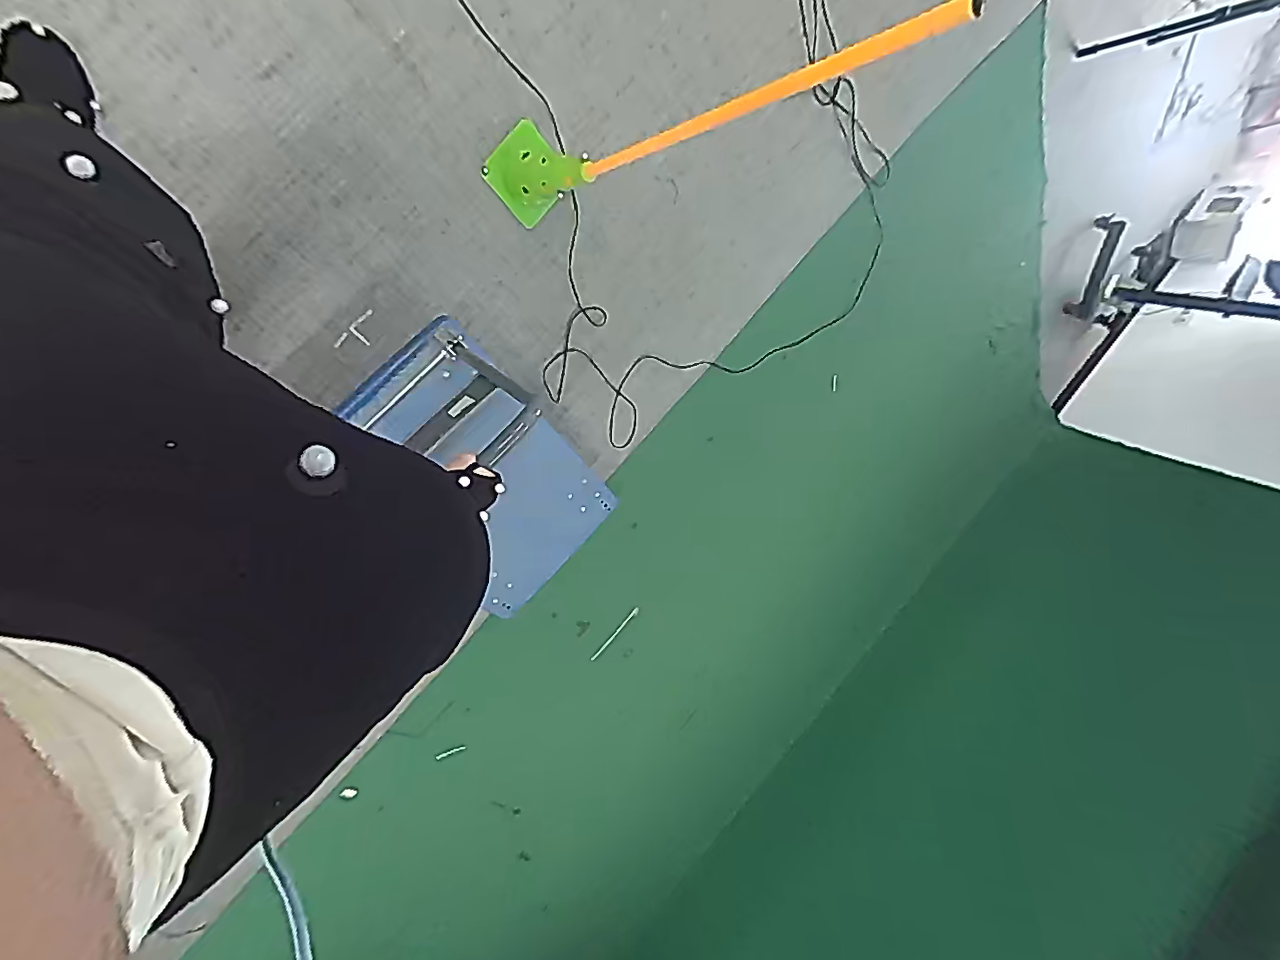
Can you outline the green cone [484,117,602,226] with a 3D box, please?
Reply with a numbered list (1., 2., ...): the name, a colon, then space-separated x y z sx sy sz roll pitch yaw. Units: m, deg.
1. green cone: -0.204 -0.769 1.348 0.202 0.368 0.200 -53 133 -3
